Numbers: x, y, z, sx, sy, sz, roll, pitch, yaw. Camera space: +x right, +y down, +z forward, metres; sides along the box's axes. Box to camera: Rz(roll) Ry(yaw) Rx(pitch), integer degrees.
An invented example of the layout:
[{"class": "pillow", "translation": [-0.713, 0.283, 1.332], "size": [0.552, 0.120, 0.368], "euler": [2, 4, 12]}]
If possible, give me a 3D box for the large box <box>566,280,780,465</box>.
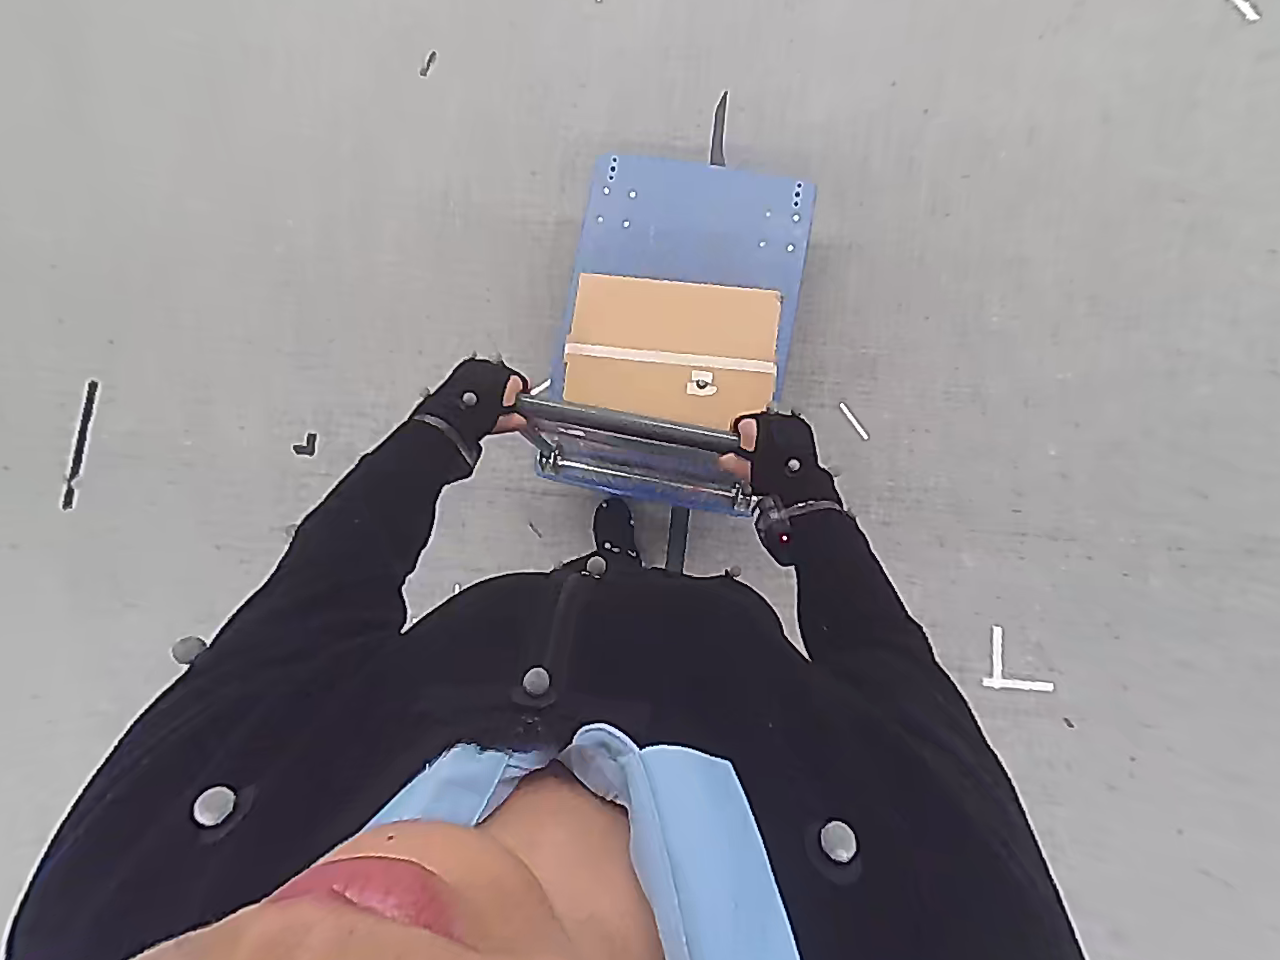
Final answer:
[{"class": "large box", "translation": [0.069, -0.219, 1.211], "size": [0.408, 0.320, 0.320], "euler": [7, 86, 3]}]
